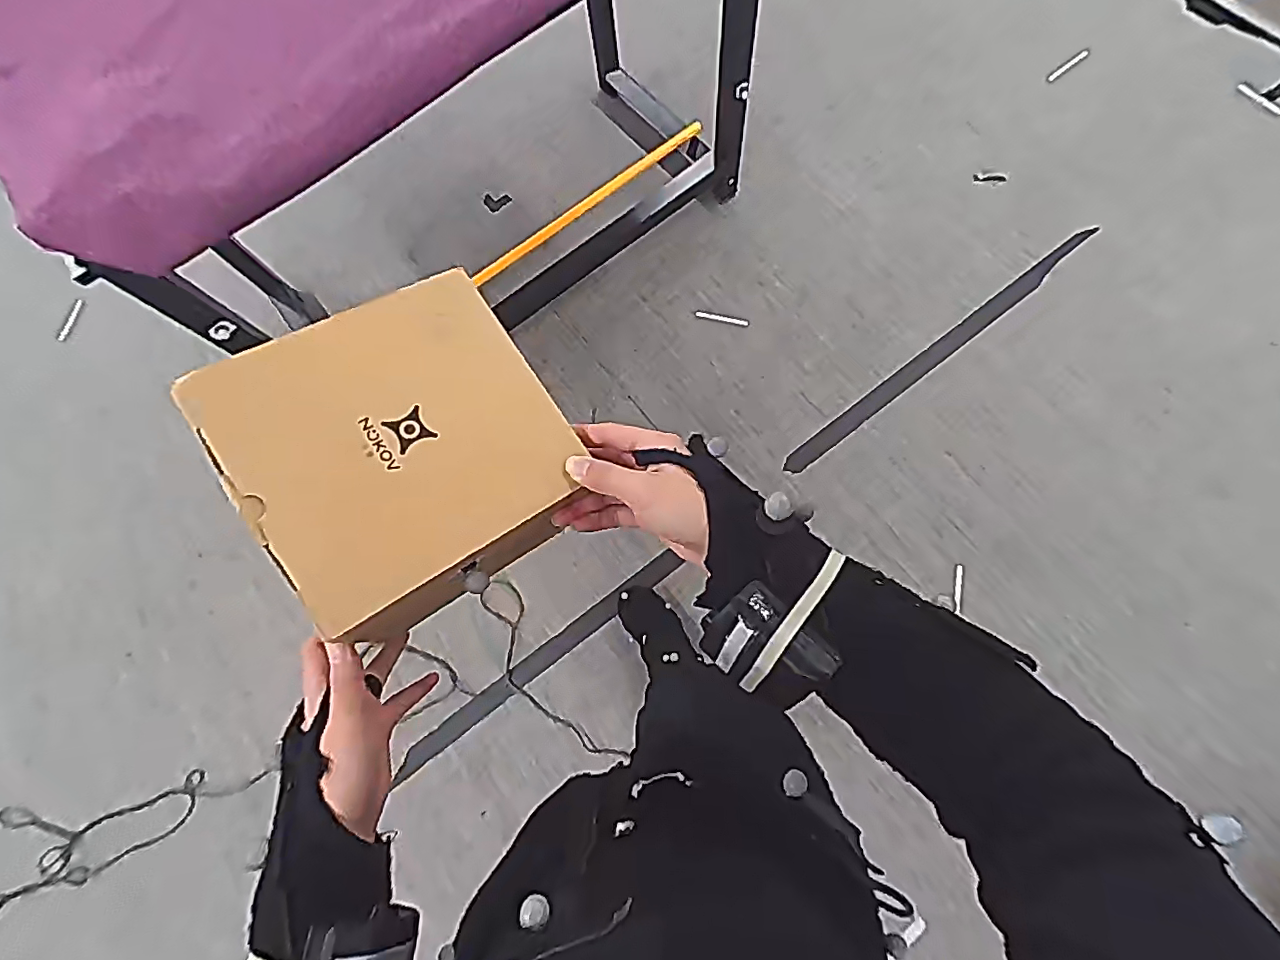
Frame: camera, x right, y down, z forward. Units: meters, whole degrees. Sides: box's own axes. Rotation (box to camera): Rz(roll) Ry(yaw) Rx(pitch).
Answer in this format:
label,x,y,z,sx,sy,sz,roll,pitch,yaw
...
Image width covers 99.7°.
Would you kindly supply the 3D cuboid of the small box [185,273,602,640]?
label,x,y,z,sx,sy,sz,roll,pitch,yaw
small box,-0.155,-0.006,0.389,0.179,0.176,0.168,-33,85,-21
